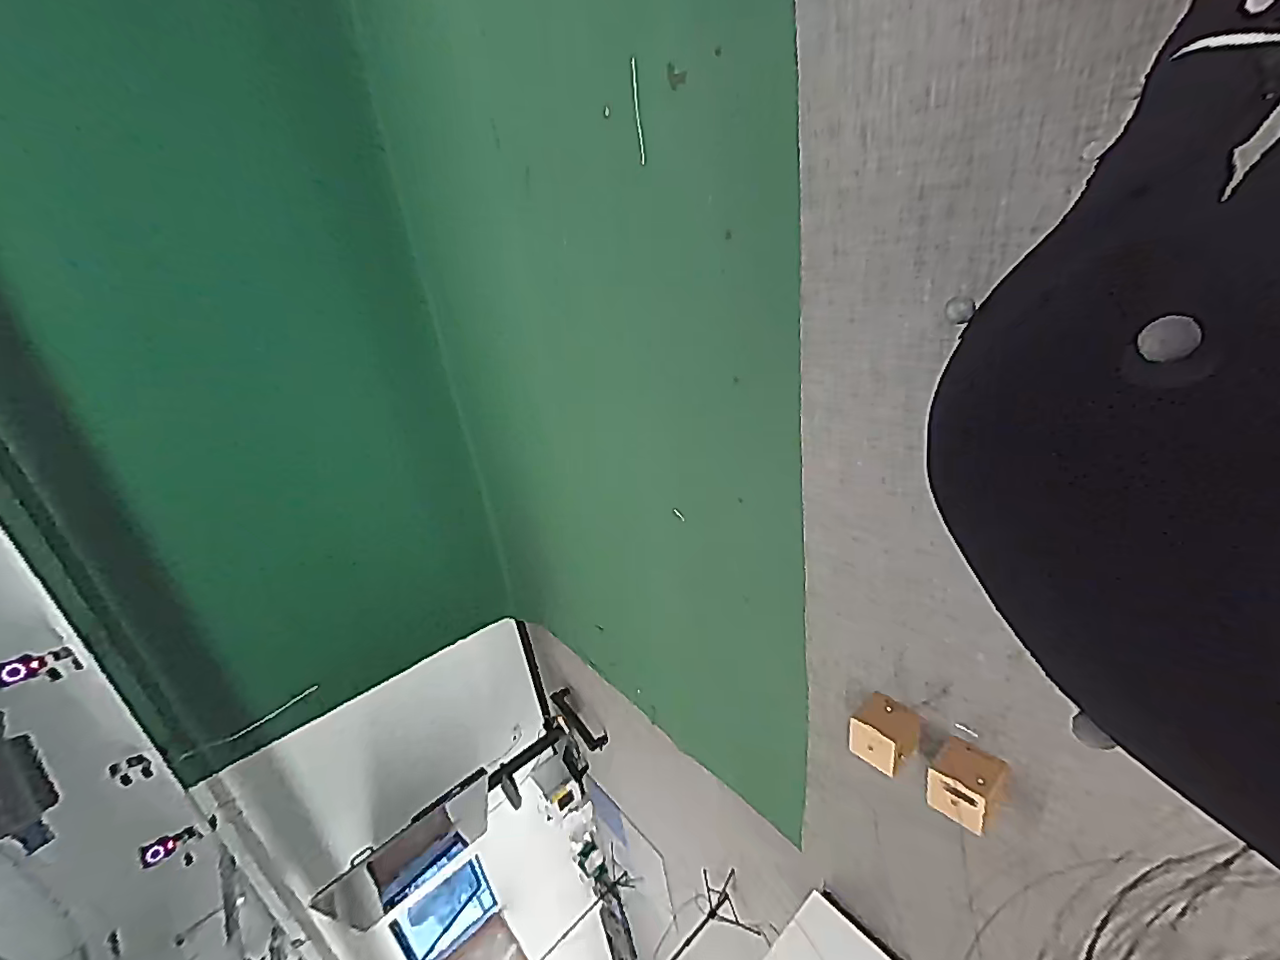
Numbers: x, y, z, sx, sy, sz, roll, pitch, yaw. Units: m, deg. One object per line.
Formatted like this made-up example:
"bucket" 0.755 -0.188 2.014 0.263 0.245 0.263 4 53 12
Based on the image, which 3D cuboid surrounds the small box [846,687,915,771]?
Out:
"small box" 0.870 0.893 1.955 0.168 0.176 0.179 21 126 46
